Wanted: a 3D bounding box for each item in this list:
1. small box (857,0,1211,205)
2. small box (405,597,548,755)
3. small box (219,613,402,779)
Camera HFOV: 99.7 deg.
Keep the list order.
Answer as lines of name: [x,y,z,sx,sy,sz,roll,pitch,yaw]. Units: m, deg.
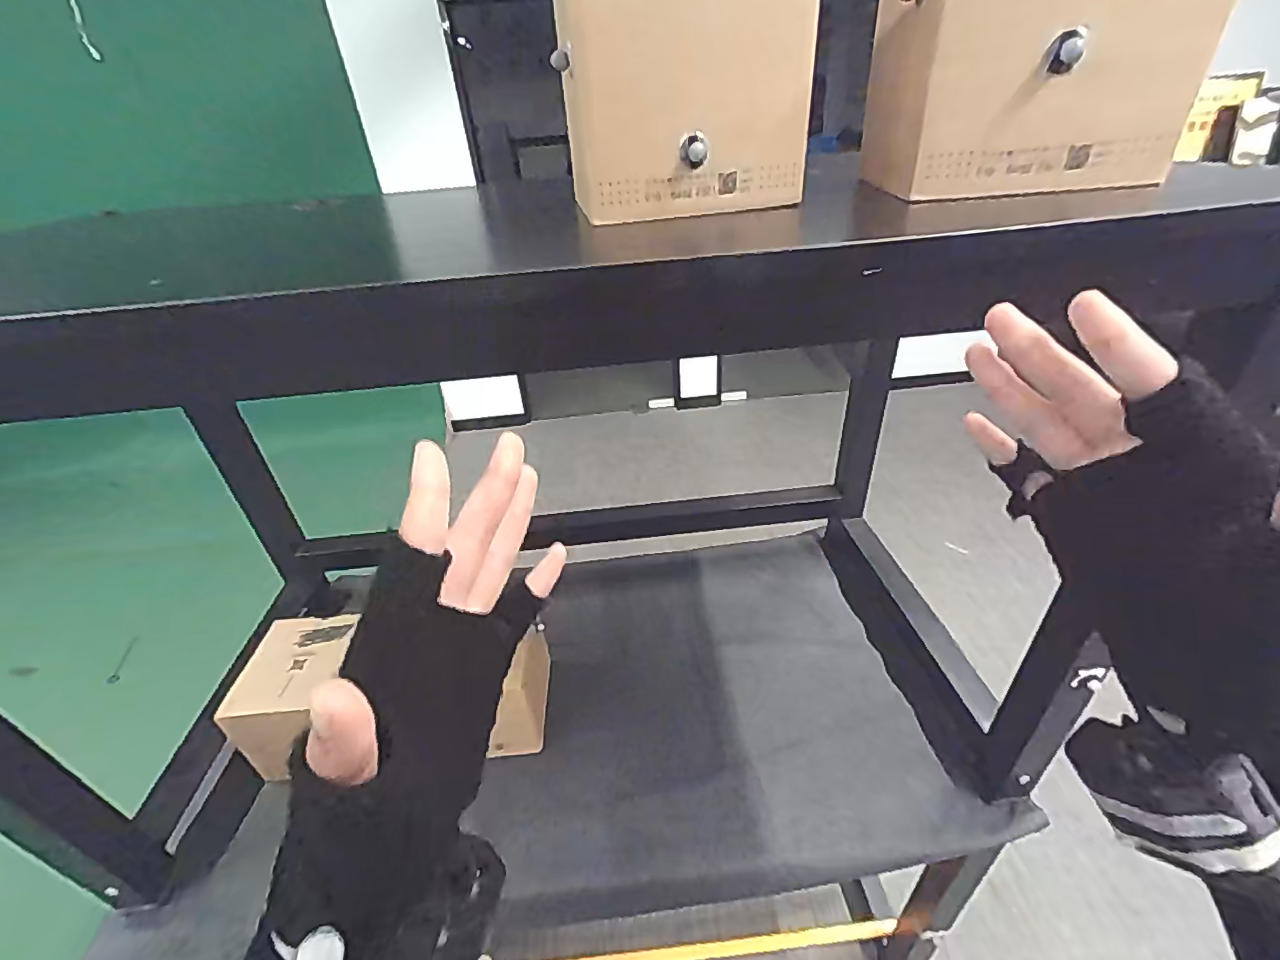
small box: [0.275,-0.310,0.408,0.168,0.176,0.179,1,34,8]
small box: [-0.244,0.314,0.860,0.168,0.176,0.179,-5,33,-1]
small box: [-0.496,0.336,0.852,0.168,0.176,0.179,-5,34,-1]
